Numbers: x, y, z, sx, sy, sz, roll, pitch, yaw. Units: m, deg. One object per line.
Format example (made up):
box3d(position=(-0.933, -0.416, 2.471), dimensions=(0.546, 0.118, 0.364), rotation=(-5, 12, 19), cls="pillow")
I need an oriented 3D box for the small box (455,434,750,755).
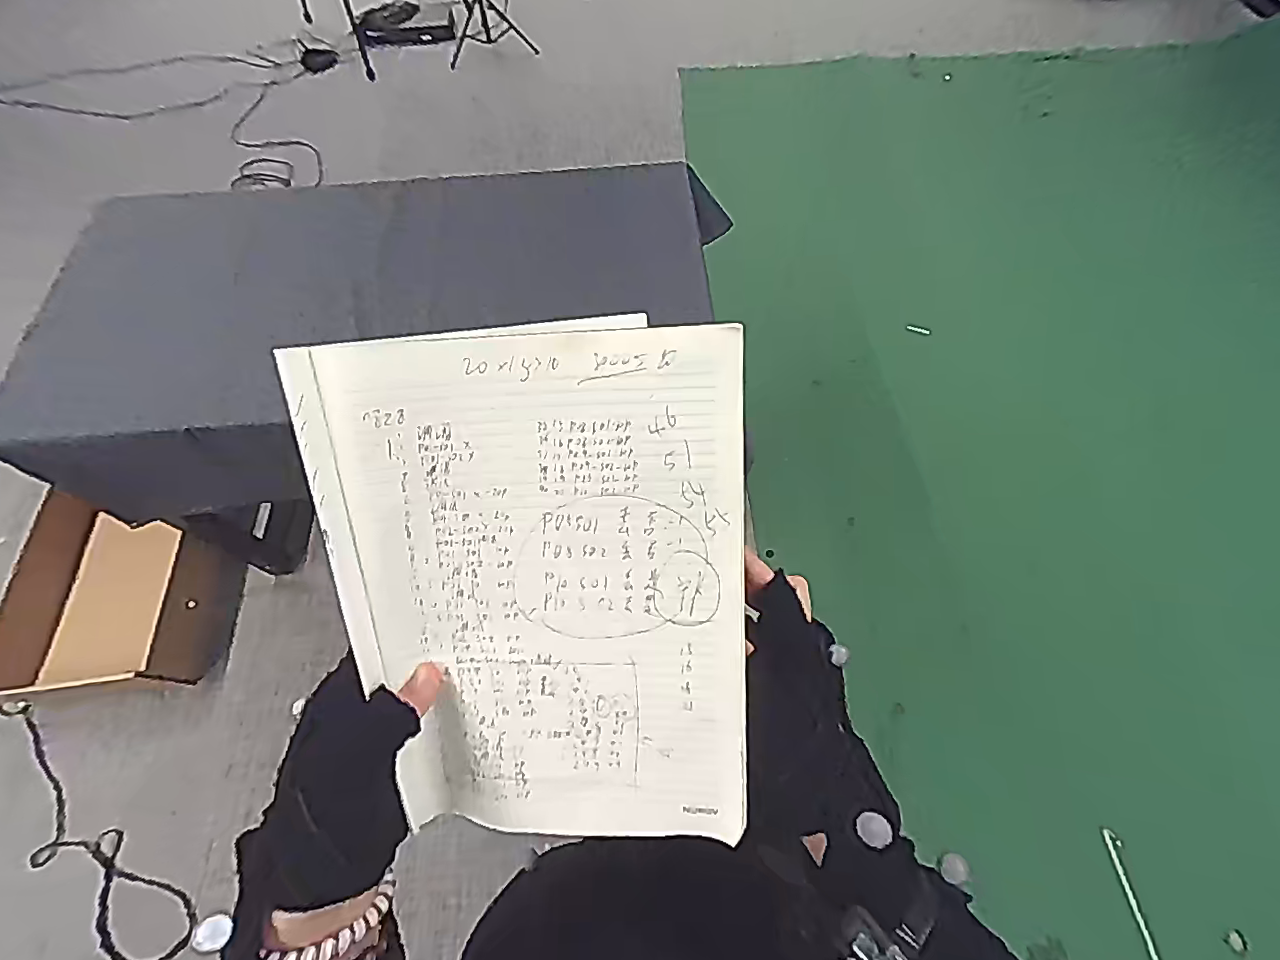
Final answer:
box3d(position=(-0.021, 0.078, 0.400), dimensions=(0.168, 0.176, 0.179), rotation=(-8, 81, 4), cls="small box")
